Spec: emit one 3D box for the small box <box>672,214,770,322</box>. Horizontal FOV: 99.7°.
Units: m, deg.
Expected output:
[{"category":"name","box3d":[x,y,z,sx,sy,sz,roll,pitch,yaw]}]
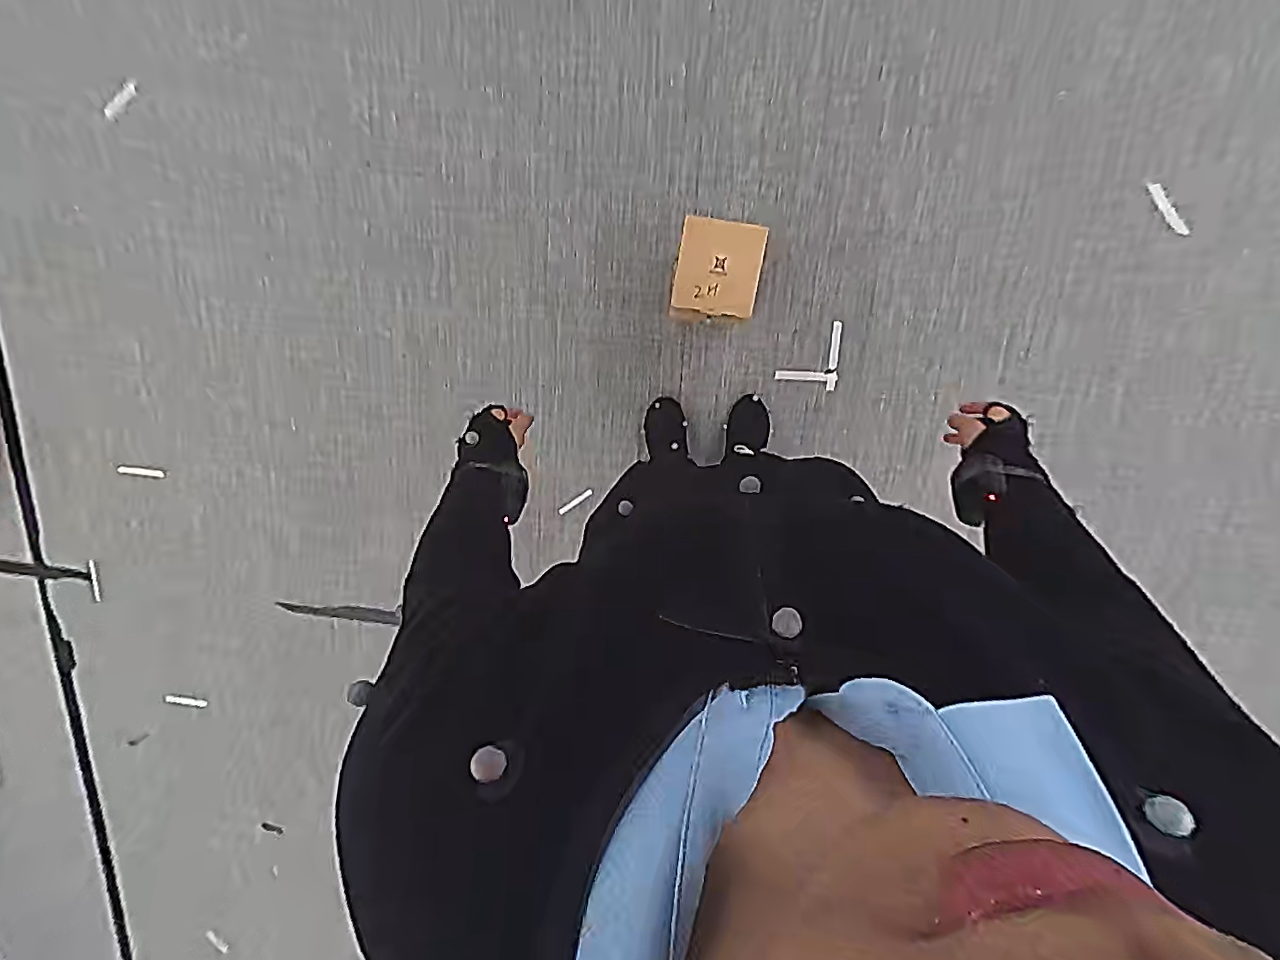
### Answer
[{"category":"small box","box3d":[0.165,-0.438,1.139,0.168,0.176,0.179,10,105,4]}]
